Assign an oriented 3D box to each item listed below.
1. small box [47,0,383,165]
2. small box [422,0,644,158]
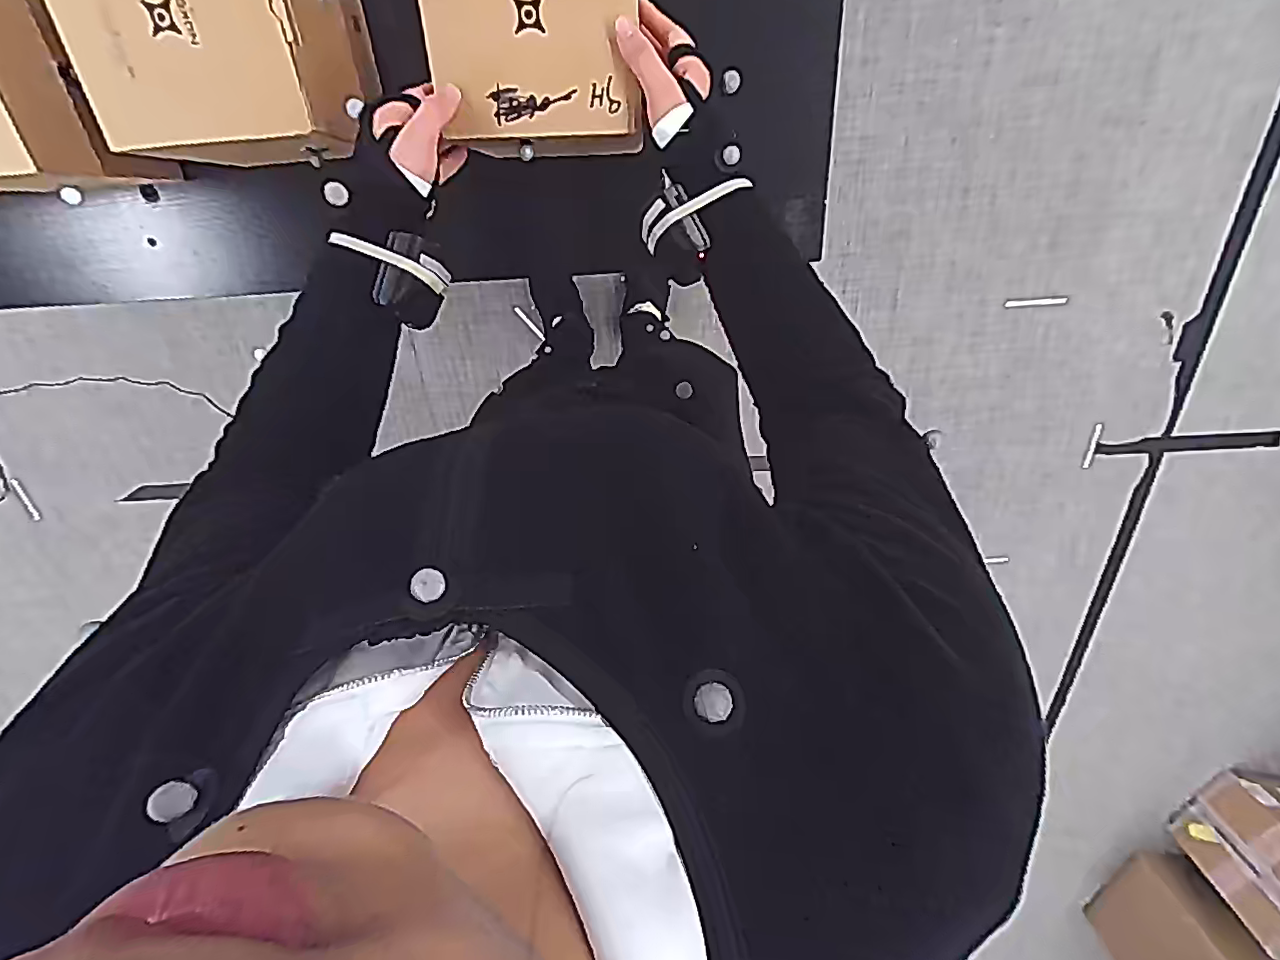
[{"bbox_3d":[-0.355,-0.385,0.479,0.179,0.176,0.168,-4,116,3],"label":"small box"},{"bbox_3d":[-0.082,-0.395,0.474,0.168,0.176,0.179,-2,116,1],"label":"small box"}]
